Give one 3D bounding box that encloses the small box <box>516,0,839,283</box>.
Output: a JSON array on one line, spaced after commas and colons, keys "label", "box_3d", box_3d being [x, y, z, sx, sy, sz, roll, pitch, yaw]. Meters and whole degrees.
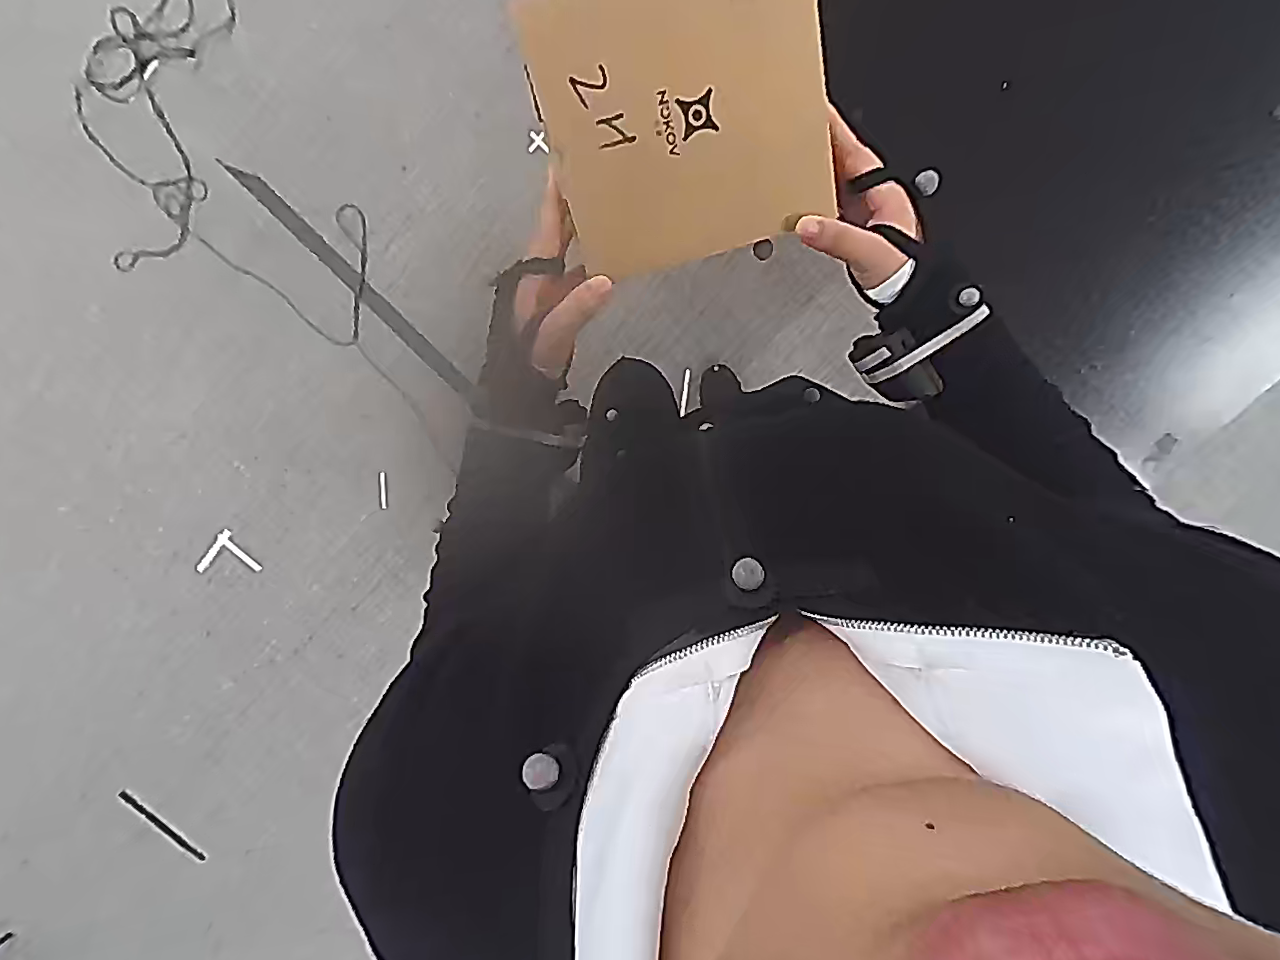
[{"label": "small box", "box_3d": [0.030, -0.264, 0.407, 0.179, 0.176, 0.168, -13, 116, 7]}]
